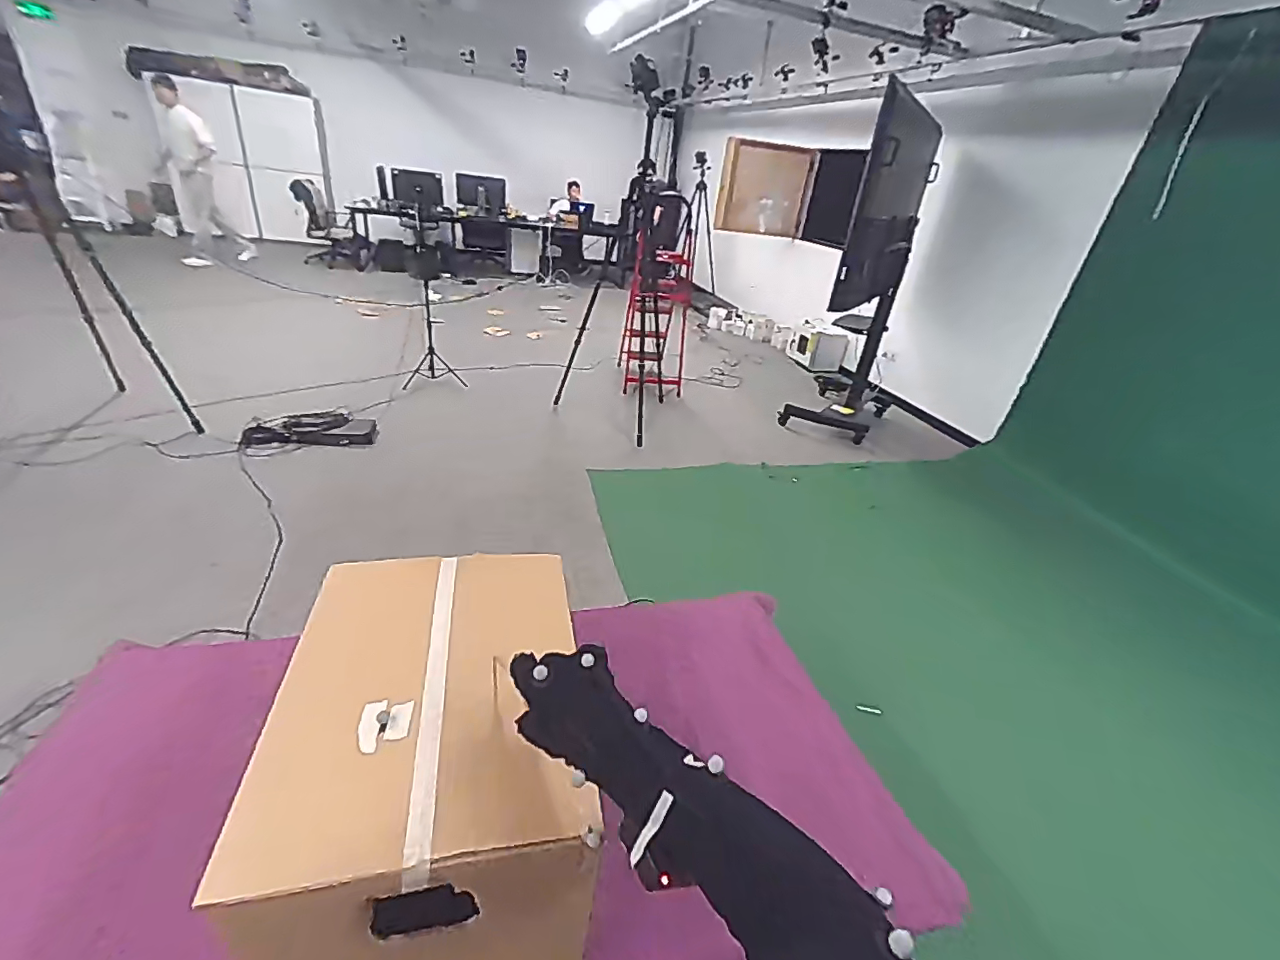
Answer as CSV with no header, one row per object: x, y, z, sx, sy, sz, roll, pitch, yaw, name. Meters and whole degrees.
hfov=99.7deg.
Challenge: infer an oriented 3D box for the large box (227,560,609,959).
-0.242,0.348,0.691,0.320,0.320,0.408,0,31,-15,large box
